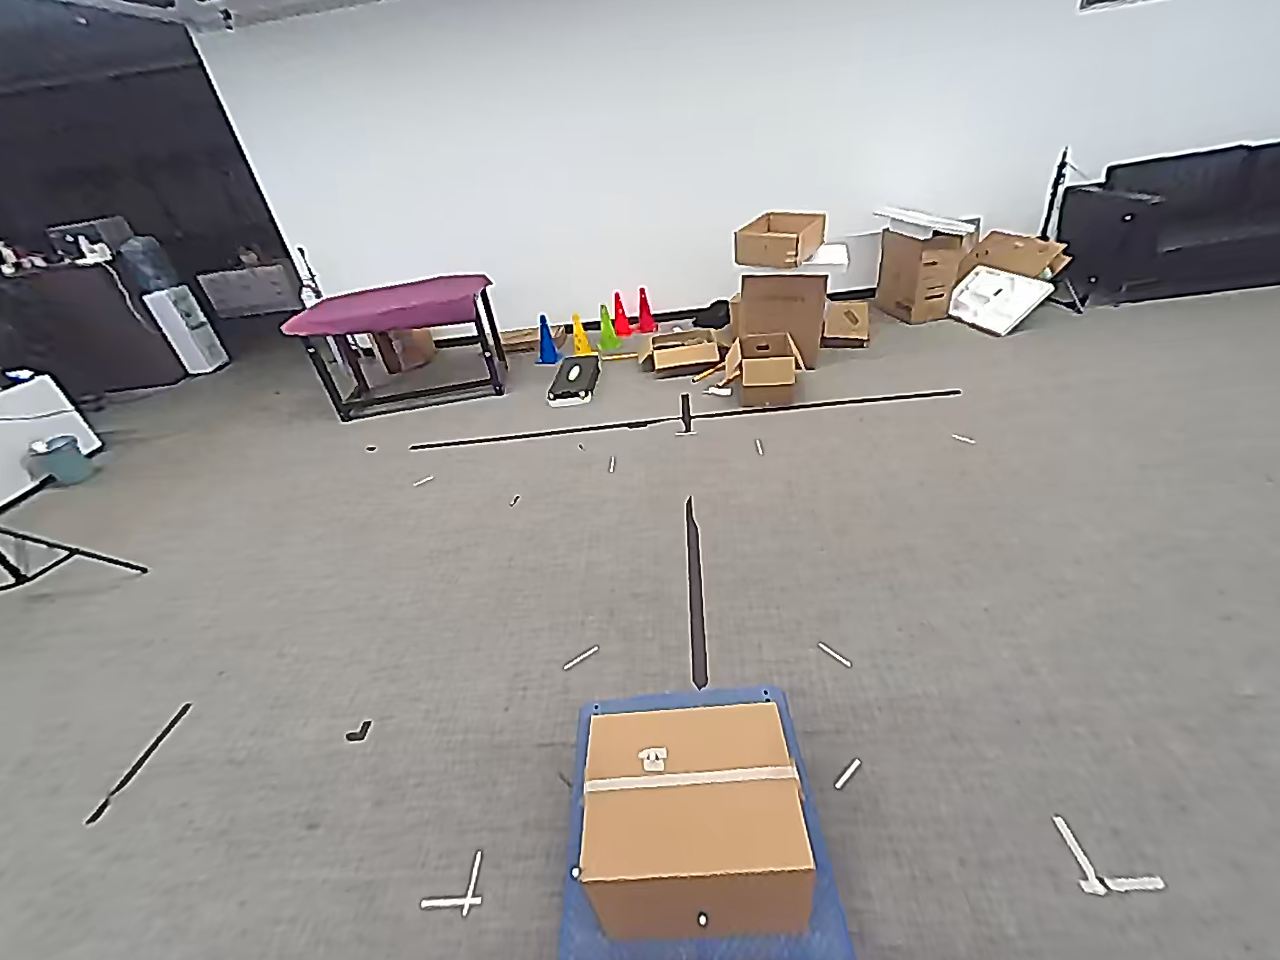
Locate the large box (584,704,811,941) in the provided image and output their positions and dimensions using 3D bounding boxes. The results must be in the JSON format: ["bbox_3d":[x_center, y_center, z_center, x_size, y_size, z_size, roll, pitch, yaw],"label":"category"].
[{"bbox_3d":[0.117,0.718,1.140,0.408,0.320,0.320,-7,32,4],"label":"large box"}]
